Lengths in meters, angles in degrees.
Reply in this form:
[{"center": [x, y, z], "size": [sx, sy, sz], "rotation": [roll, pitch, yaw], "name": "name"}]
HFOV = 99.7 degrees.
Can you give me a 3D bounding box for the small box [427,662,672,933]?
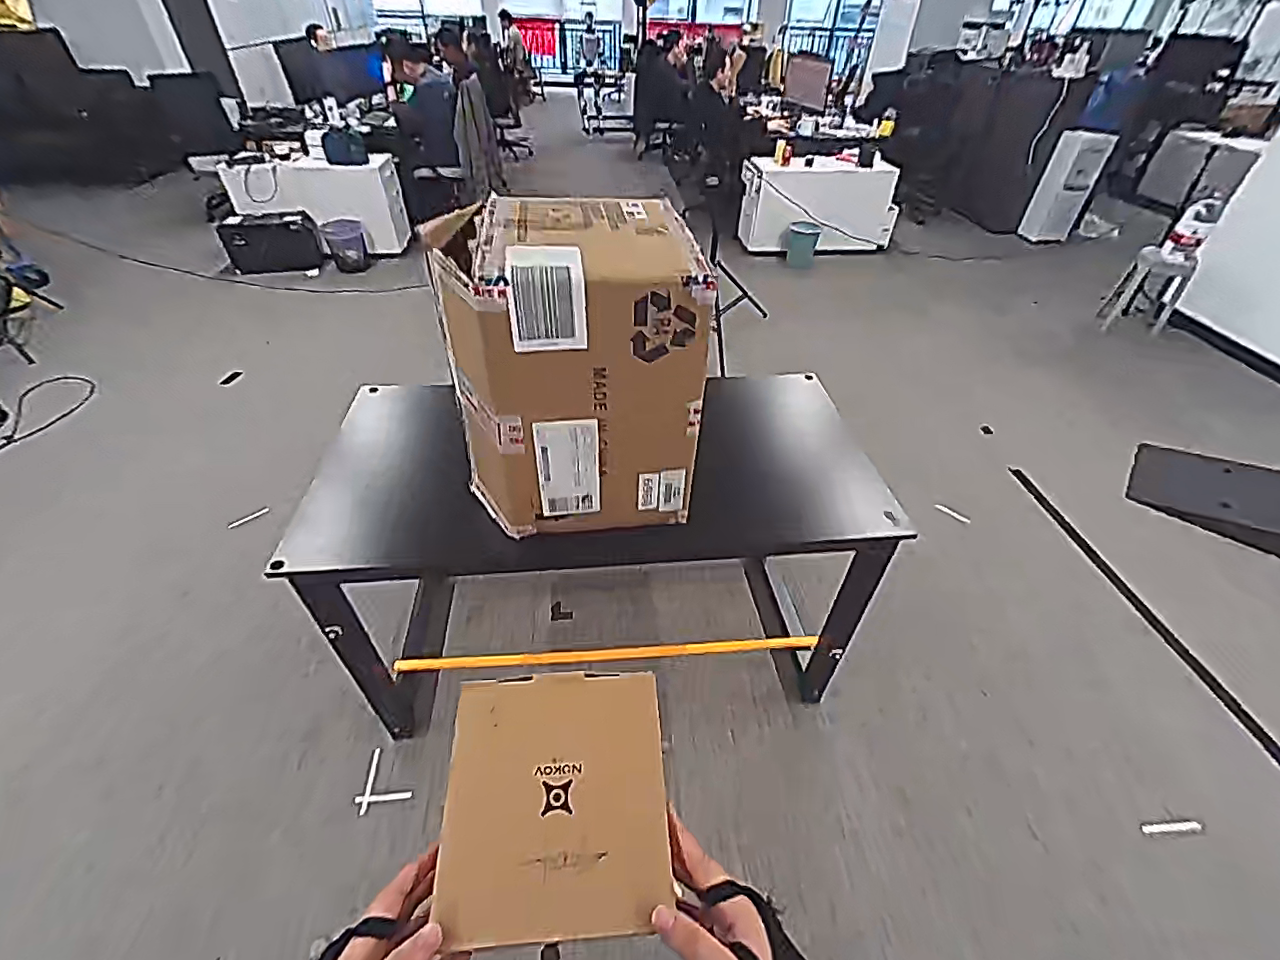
[{"center": [-0.069, 0.277, 0.472], "size": [0.168, 0.176, 0.179], "rotation": [-1, 52, -4], "name": "small box"}]
